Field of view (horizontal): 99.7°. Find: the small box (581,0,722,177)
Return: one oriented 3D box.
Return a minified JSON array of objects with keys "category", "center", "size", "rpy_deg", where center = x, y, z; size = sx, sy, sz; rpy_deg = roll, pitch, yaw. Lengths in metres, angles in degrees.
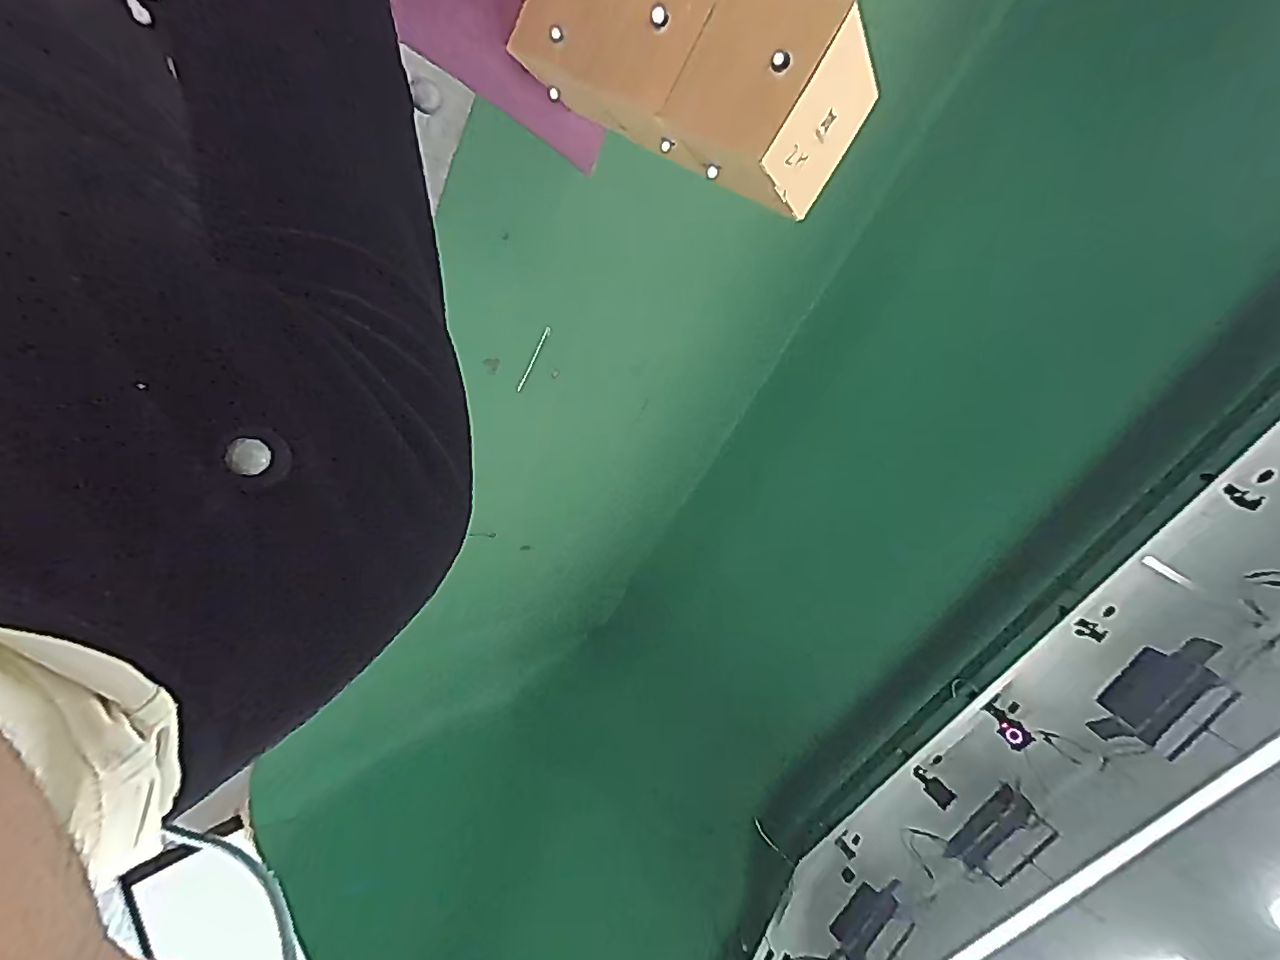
[{"category":"small box","center":[0.048,-0.573,0.754],"size":[0.168,0.176,0.179],"rpy_deg":[0,125,-58]}]

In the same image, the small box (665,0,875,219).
[{"category":"small box","center":[0.163,-0.477,0.686],"size":[0.168,0.176,0.179],"rpy_deg":[2,125,-58]}]
